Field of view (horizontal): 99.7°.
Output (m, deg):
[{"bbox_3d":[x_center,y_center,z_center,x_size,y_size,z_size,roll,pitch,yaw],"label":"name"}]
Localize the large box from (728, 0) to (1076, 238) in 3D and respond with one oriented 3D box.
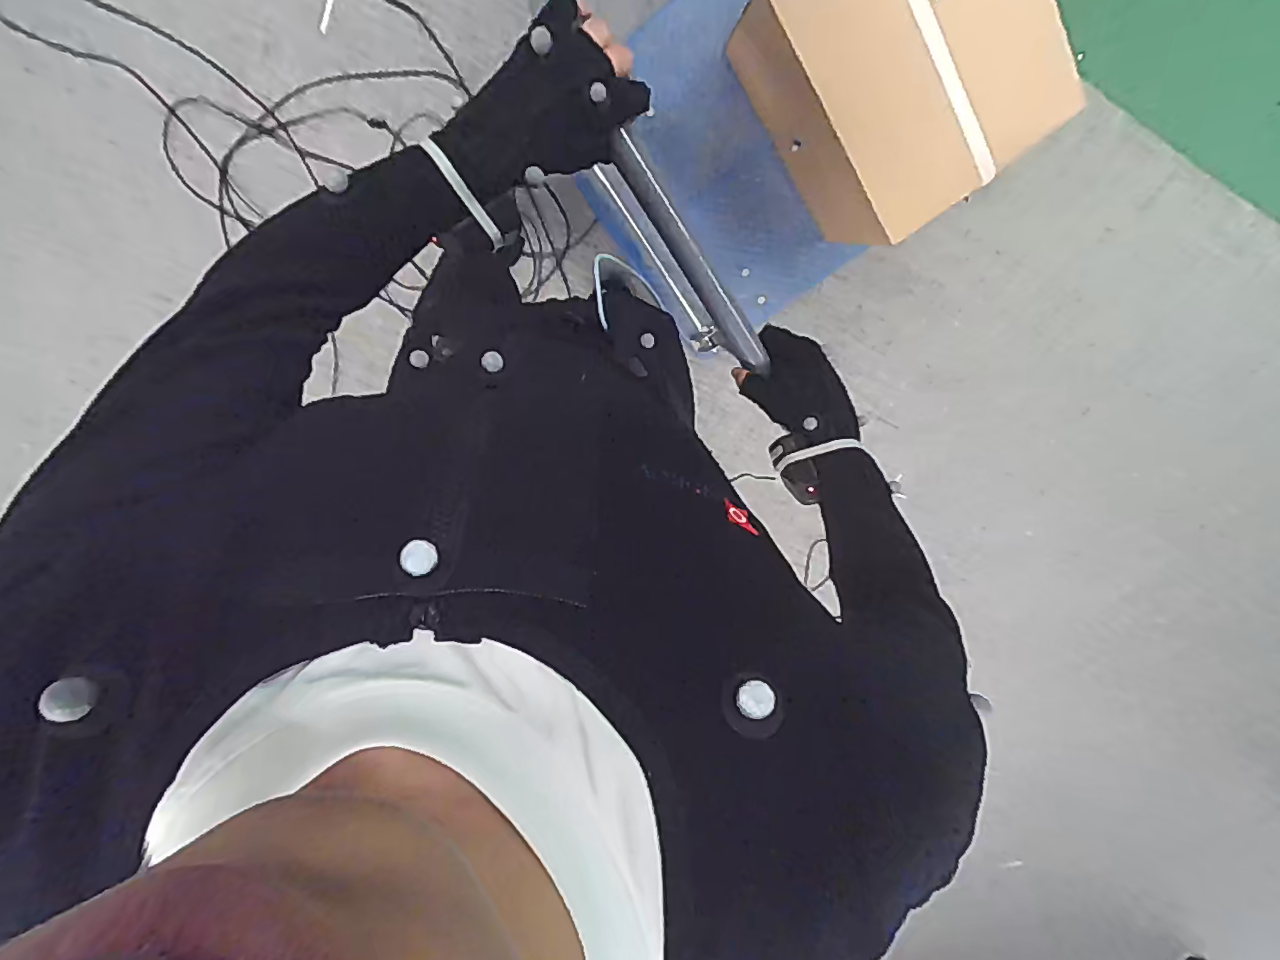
[{"bbox_3d":[0.397,-0.673,0.891,0.320,0.320,0.408,-35,112,14],"label":"large box"}]
